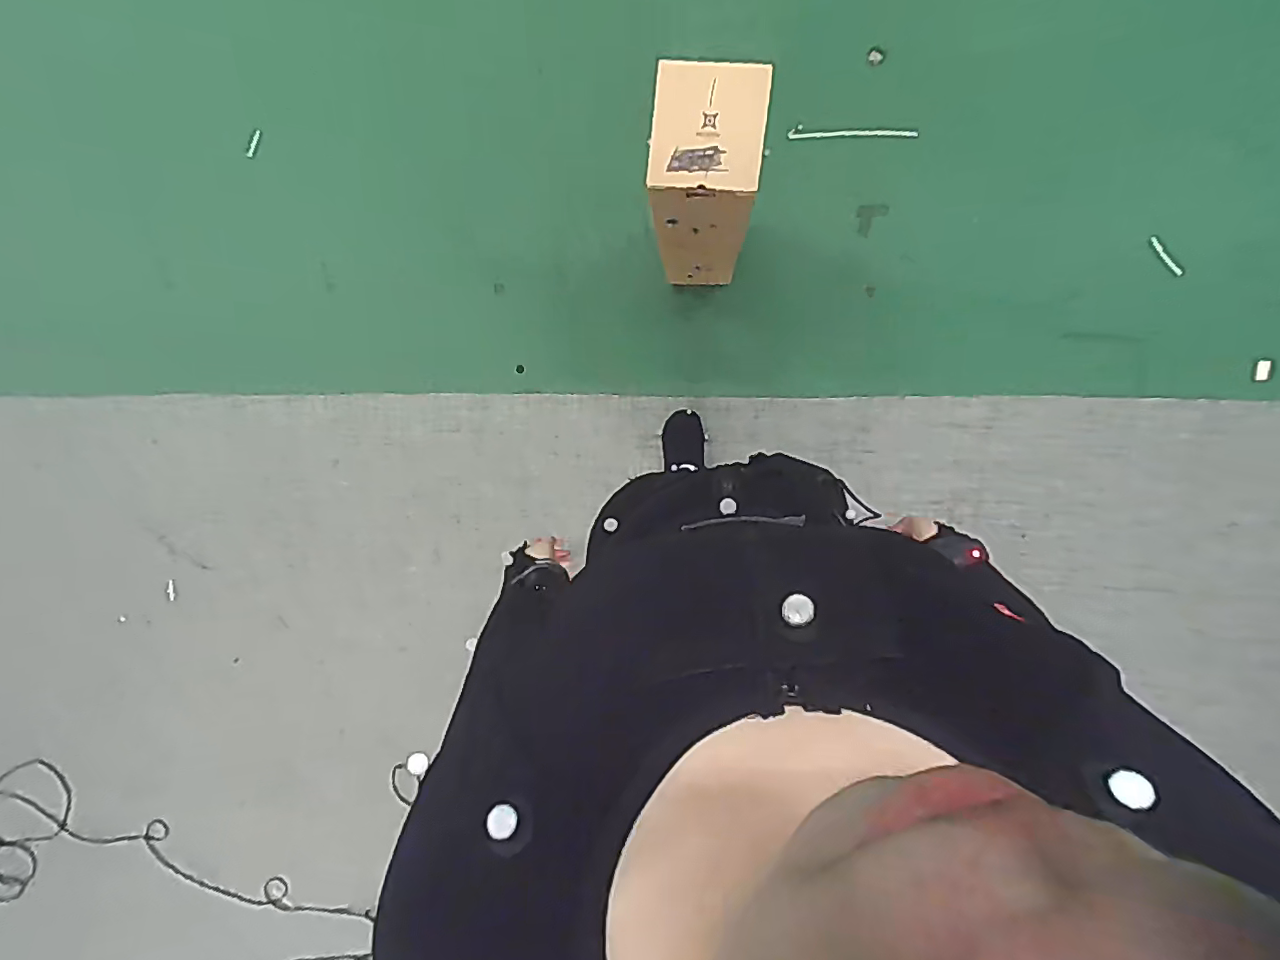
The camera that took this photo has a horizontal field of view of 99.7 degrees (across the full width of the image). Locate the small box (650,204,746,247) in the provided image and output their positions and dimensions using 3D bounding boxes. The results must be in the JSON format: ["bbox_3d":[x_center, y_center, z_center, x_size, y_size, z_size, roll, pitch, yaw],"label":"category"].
[{"bbox_3d":[0.119,-0.548,1.014,0.179,0.176,0.168,5,99,5],"label":"small box"}]

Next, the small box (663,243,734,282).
[{"bbox_3d":[0.149,-0.596,1.338,0.168,0.176,0.179,2,97,6],"label":"small box"}]

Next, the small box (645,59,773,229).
[{"bbox_3d":[0.106,-0.516,0.854,0.168,0.176,0.179,7,97,5],"label":"small box"}]
